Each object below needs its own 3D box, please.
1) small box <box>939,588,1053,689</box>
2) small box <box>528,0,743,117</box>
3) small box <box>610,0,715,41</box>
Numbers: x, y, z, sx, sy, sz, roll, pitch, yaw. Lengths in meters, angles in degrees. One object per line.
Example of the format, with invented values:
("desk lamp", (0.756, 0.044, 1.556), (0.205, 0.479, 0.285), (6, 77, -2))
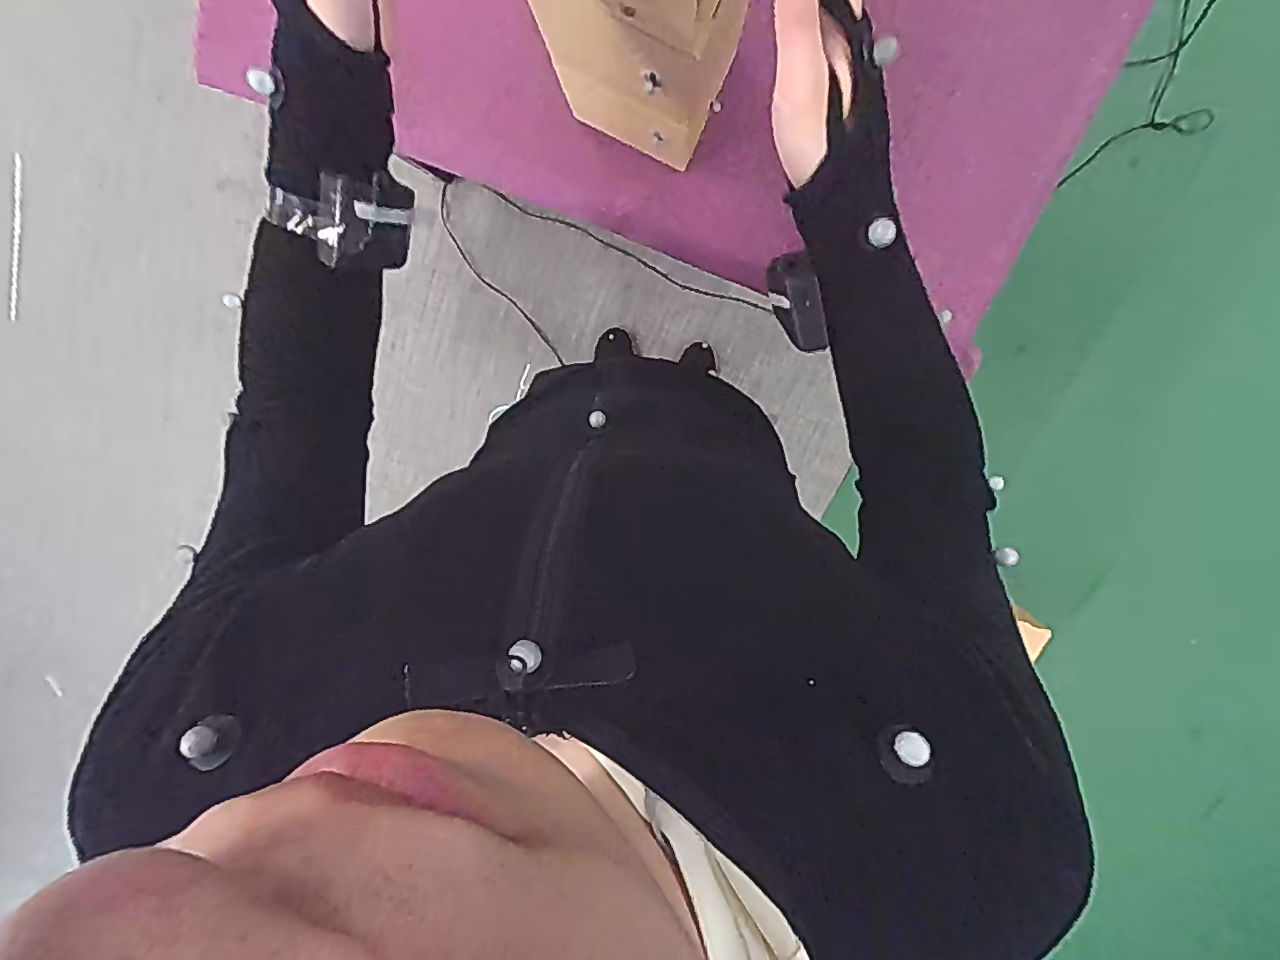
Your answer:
("small box", (0.945, 0.422, 1.459), (0.168, 0.176, 0.179), (18, 105, -1))
("small box", (0.008, -0.490, 0.521), (0.179, 0.176, 0.168), (25, 105, -3))
("small box", (0.004, -0.454, 0.362), (0.168, 0.176, 0.179), (24, 105, -4))
